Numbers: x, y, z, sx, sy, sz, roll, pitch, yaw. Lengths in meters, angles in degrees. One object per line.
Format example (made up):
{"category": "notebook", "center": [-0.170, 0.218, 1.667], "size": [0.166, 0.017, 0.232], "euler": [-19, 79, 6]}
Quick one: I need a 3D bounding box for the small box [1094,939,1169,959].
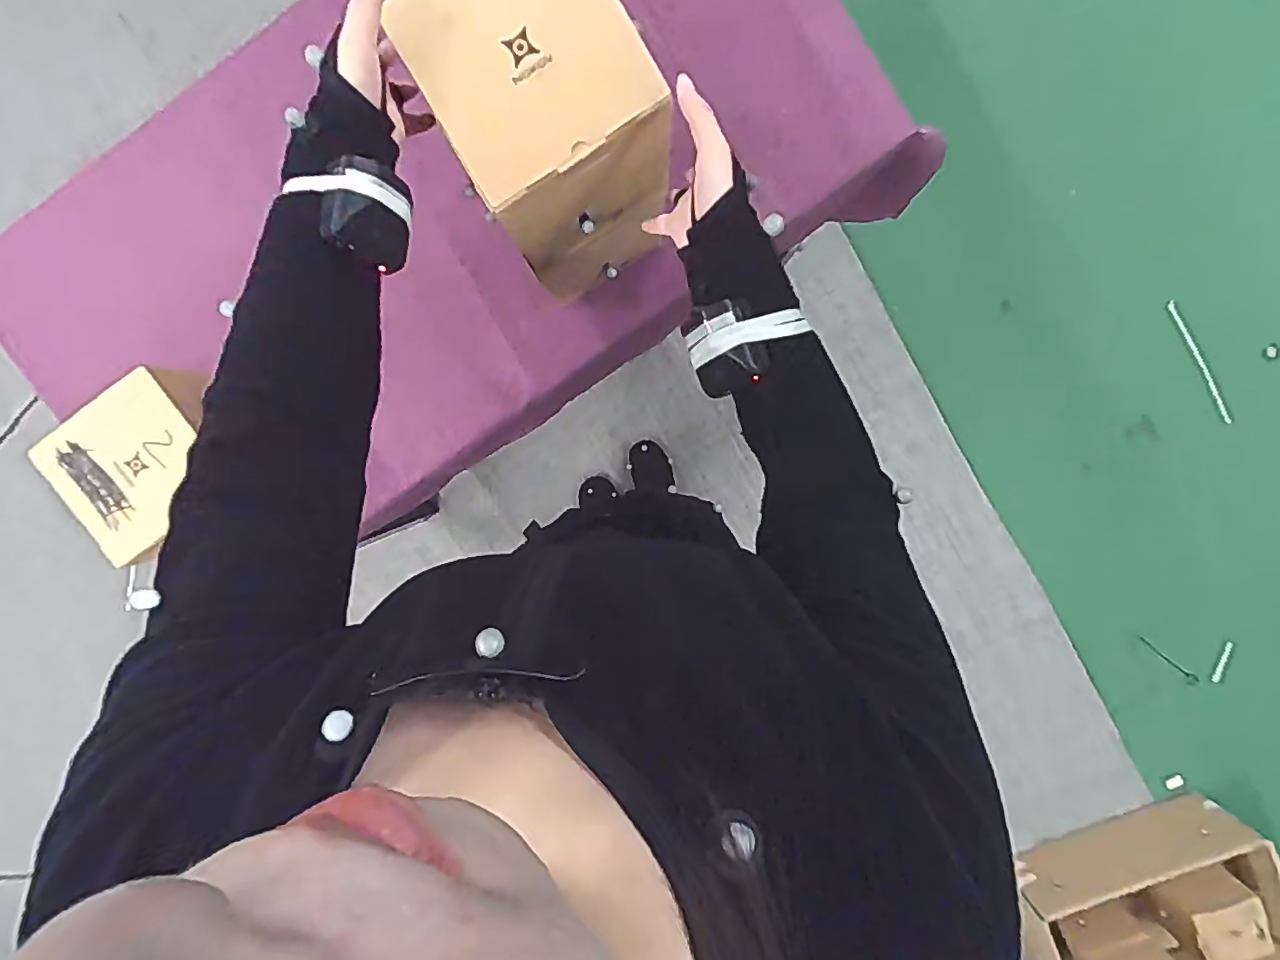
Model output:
{"category": "small box", "center": [1.252, 1.284, 1.315], "size": [0.179, 0.176, 0.168], "euler": [-24, 94, 2]}

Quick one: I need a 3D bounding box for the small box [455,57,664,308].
{"category": "small box", "center": [-0.086, -0.338, 0.656], "size": [0.168, 0.176, 0.179], "euler": [-31, 94, 4]}
